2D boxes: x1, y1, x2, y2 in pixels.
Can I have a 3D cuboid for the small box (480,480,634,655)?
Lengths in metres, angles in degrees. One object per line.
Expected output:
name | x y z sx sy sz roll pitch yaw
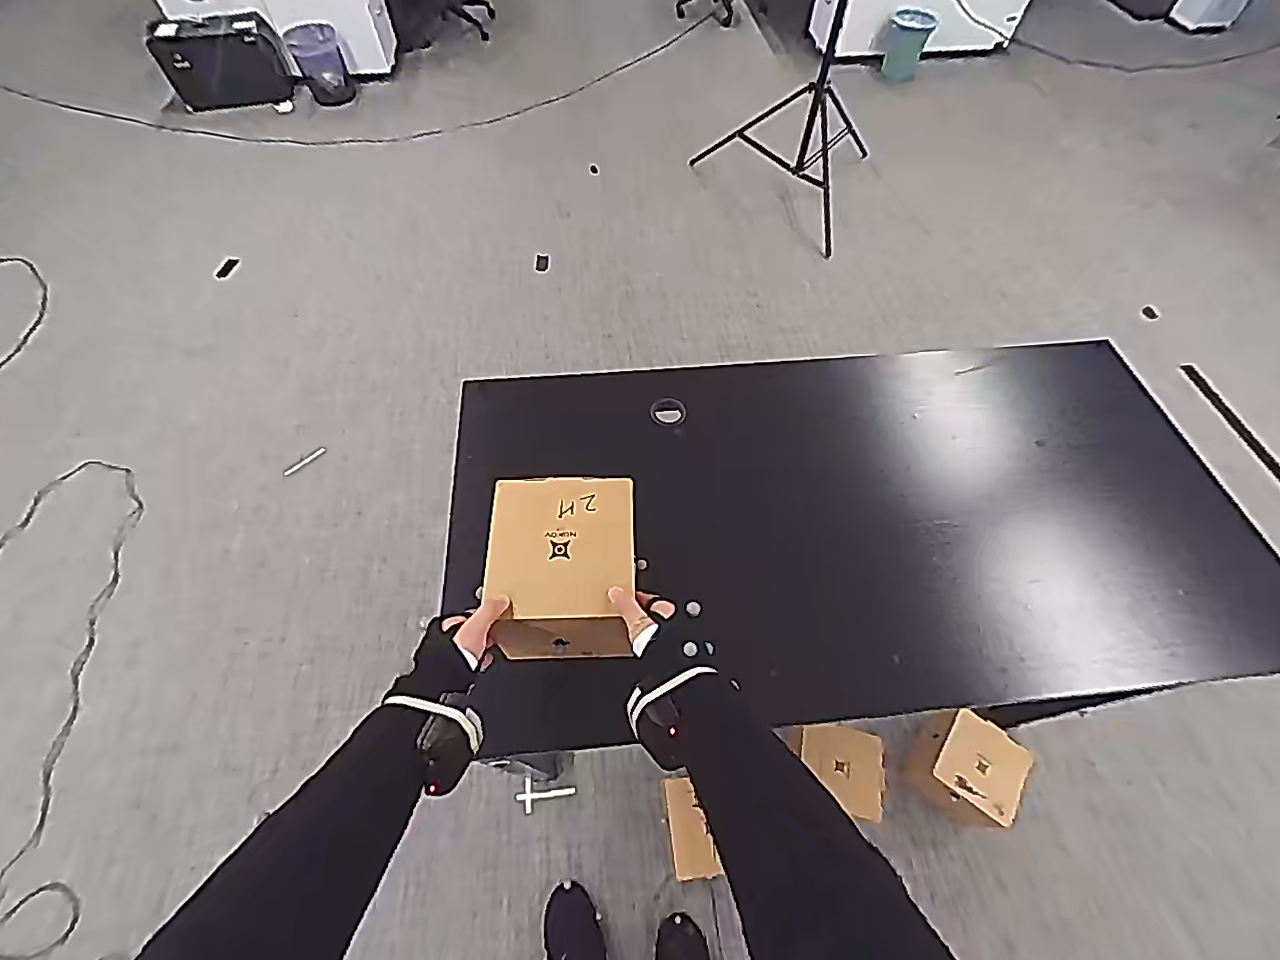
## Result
small box | -0.091 0.117 0.681 0.168 0.176 0.179 -1 58 -2

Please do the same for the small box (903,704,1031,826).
small box | 0.728 0.642 1.221 0.168 0.176 0.179 33 63 19

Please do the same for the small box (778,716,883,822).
small box | 0.425 0.651 1.216 0.179 0.176 0.168 12 58 8

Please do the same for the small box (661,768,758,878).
small box | 0.140 0.731 1.161 0.168 0.176 0.179 -6 60 -4
